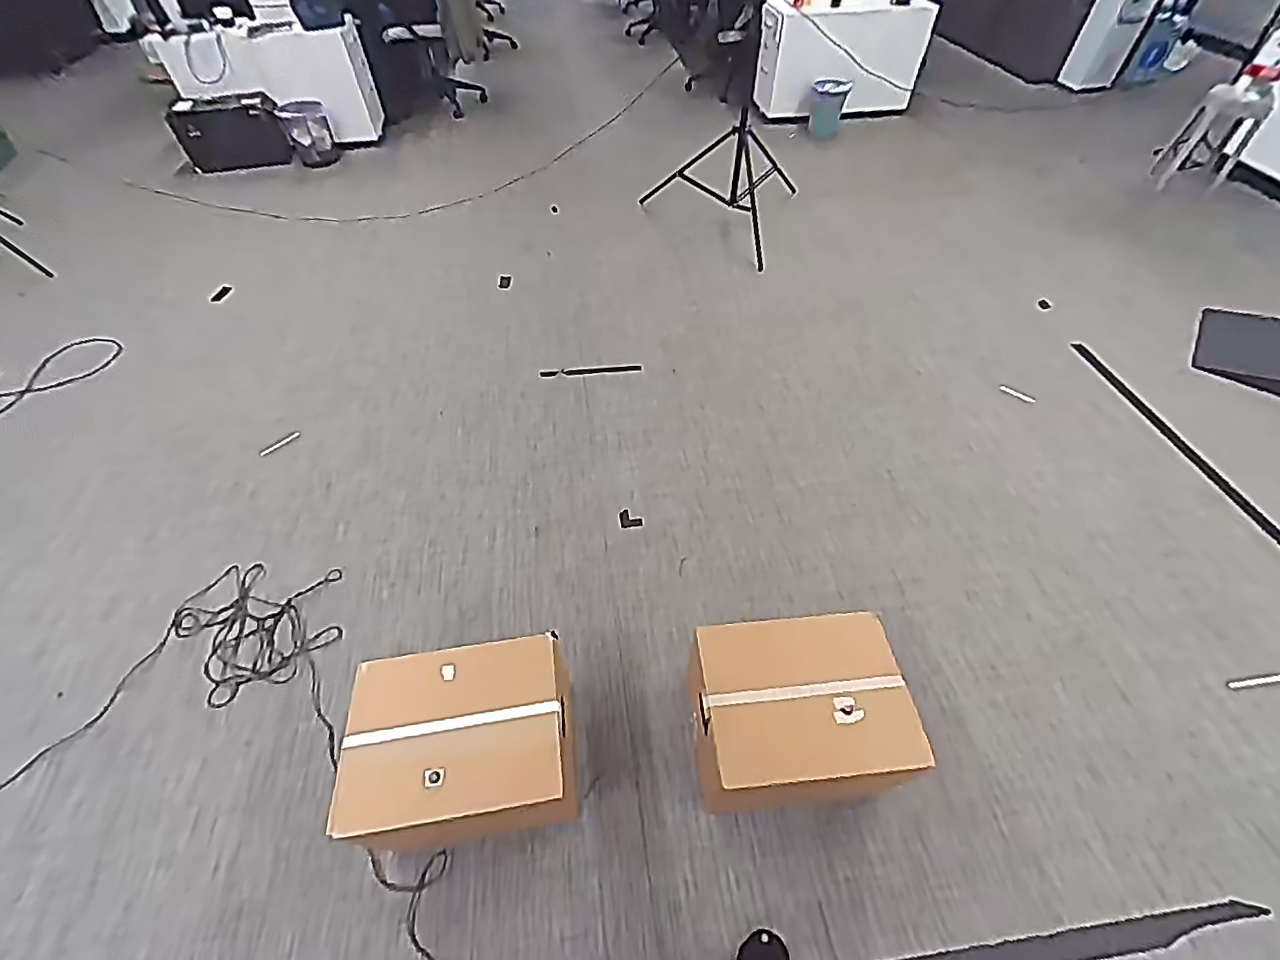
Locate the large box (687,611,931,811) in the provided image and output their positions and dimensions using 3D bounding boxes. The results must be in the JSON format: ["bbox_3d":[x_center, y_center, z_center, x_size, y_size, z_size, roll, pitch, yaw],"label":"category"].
[{"bbox_3d":[0.334,0.519,1.207,0.408,0.320,0.320,-4,52,-4],"label":"large box"}]
